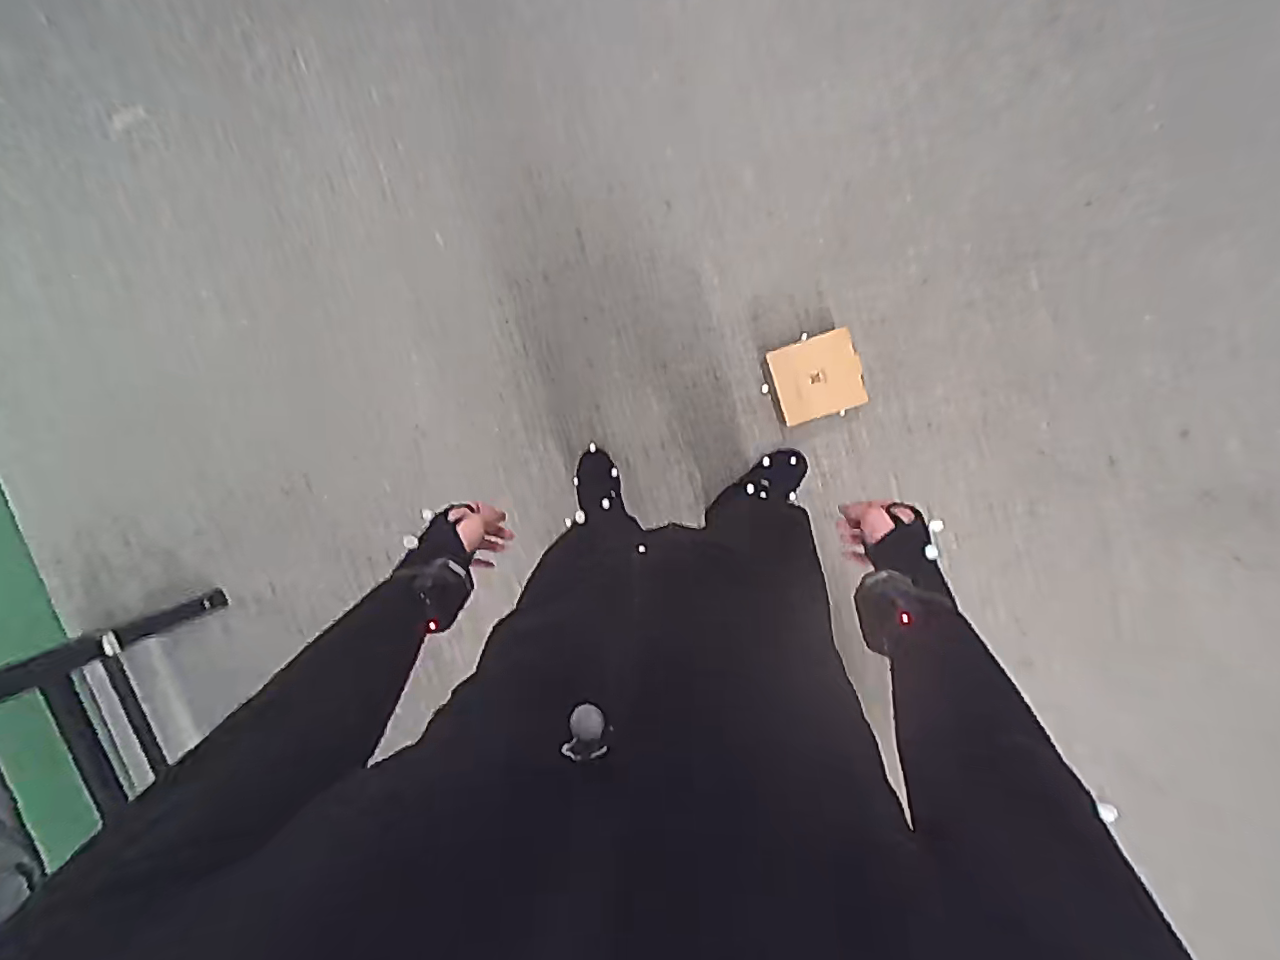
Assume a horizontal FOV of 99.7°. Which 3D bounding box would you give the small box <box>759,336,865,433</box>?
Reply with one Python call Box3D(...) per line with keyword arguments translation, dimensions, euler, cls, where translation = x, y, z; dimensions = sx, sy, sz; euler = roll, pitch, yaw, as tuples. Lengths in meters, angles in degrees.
Box3D(translation=(0.379, -0.212, 1.217), dimensions=(0.179, 0.176, 0.168), euler=(-17, 95, 11), cls="small box")
